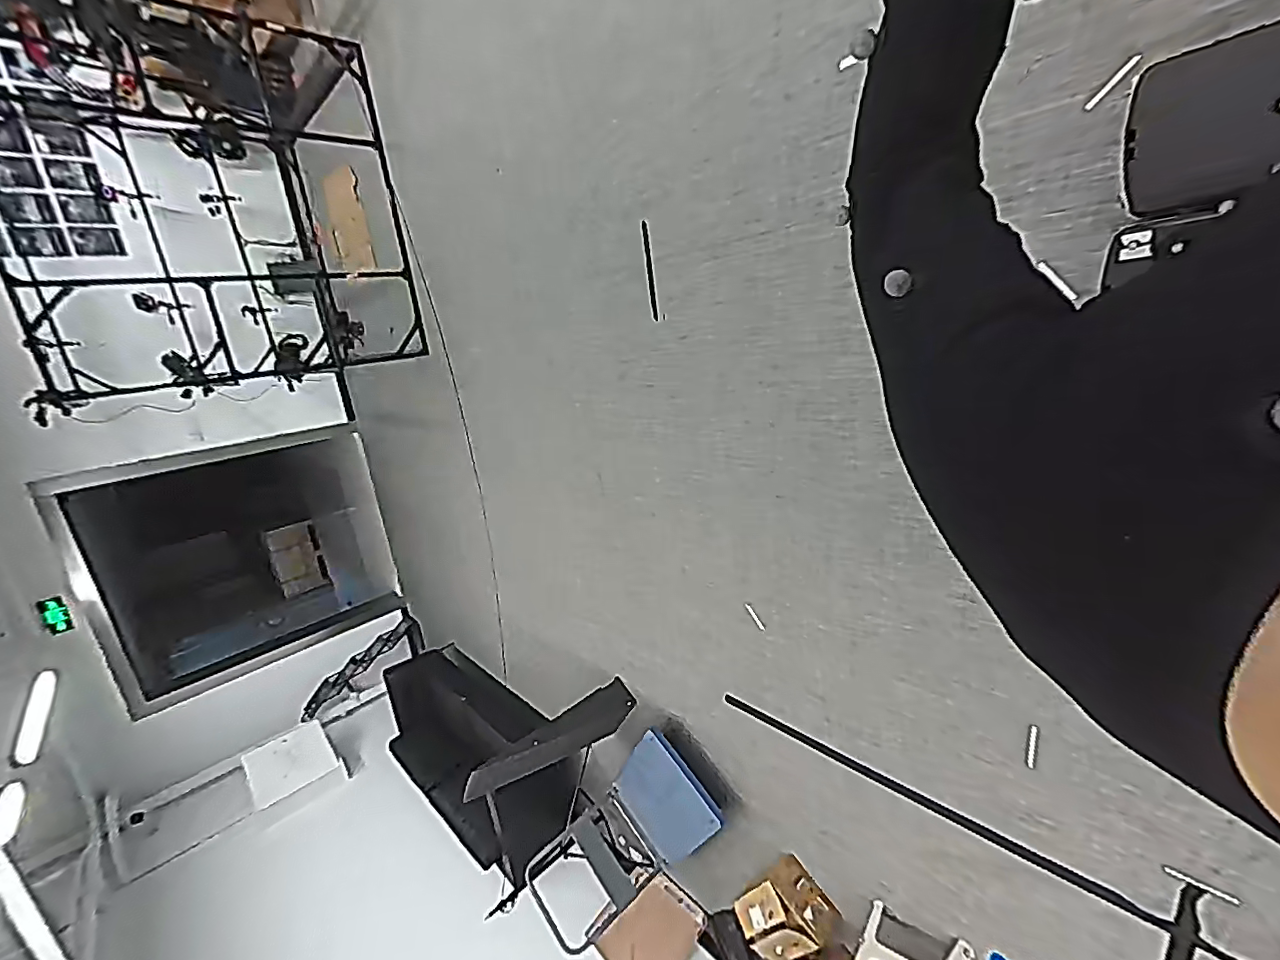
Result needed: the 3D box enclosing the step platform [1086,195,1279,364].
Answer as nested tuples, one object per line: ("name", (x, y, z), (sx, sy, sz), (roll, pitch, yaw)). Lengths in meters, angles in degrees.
("step platform", (1.232, -0.372, 0.955), (0.684, 0.204, 0.286), (8, 111, 49))
